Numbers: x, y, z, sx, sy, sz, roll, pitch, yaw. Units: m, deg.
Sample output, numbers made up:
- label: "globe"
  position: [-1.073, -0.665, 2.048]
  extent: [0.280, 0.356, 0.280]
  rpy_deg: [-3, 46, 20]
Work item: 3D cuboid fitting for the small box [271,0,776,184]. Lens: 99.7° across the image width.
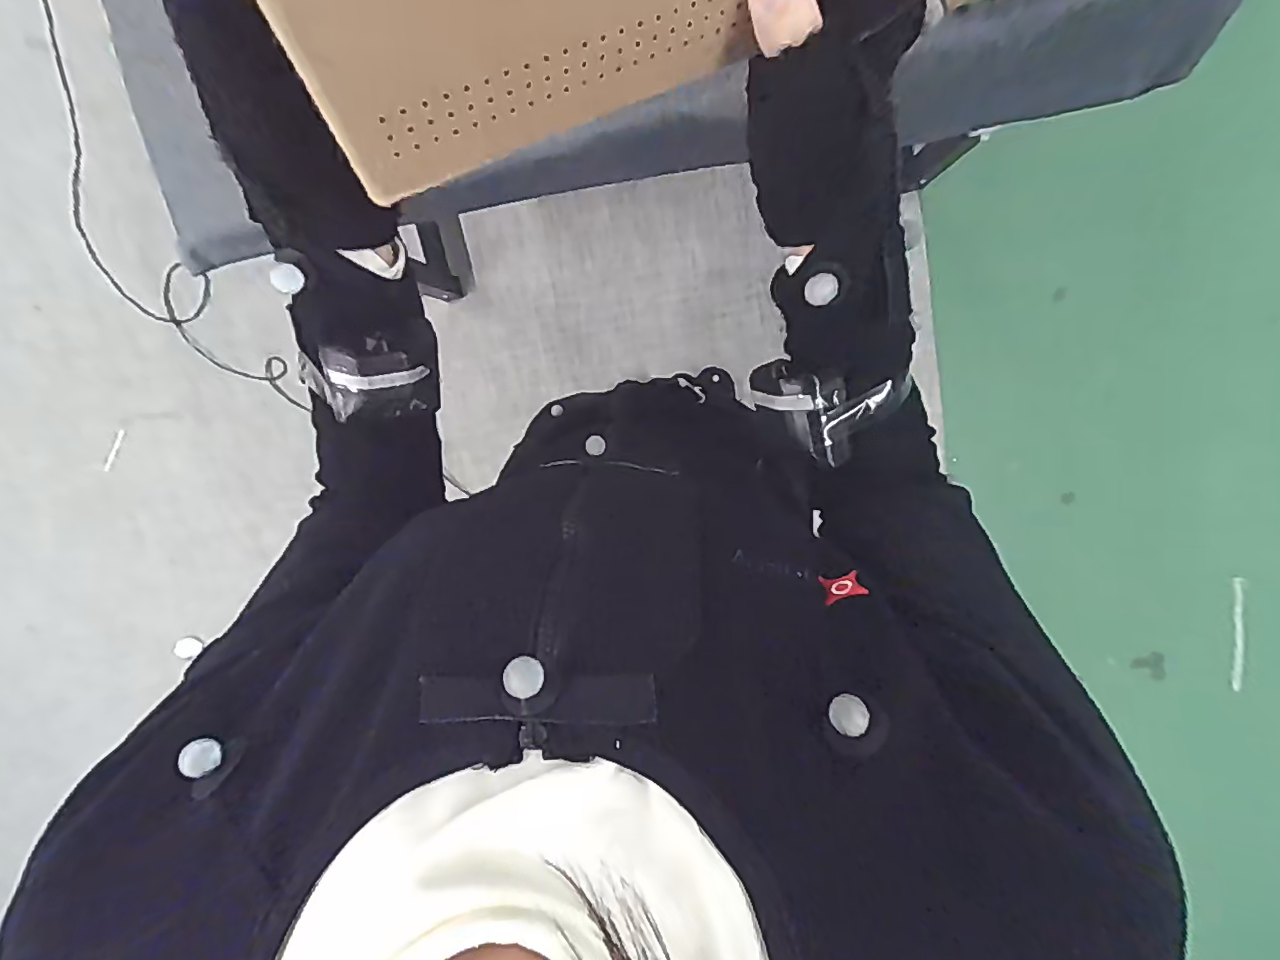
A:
- label: "small box"
  position: [-0.043, -0.218, 0.127]
  extent: [0.179, 0.176, 0.168]
  rpy_deg: [-30, 83, -9]
